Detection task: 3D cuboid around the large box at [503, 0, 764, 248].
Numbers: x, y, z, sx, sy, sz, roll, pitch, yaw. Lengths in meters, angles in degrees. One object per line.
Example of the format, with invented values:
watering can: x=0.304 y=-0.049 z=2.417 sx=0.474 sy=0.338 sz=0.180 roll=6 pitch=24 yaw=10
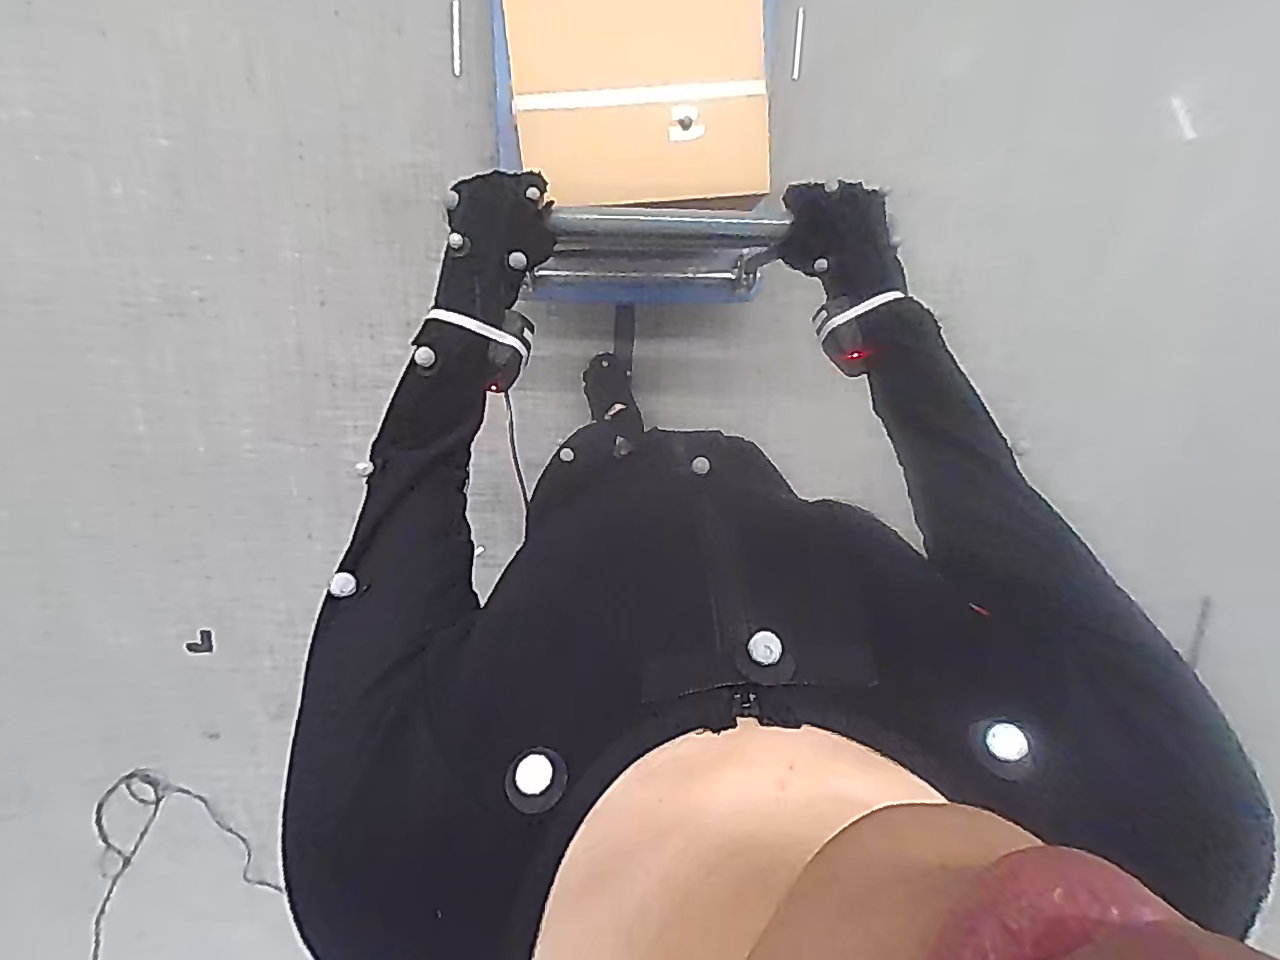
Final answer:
large box: x=-0.015 y=-0.651 z=1.020 sx=0.408 sy=0.320 sz=0.320 roll=-6 pitch=102 yaw=-4
